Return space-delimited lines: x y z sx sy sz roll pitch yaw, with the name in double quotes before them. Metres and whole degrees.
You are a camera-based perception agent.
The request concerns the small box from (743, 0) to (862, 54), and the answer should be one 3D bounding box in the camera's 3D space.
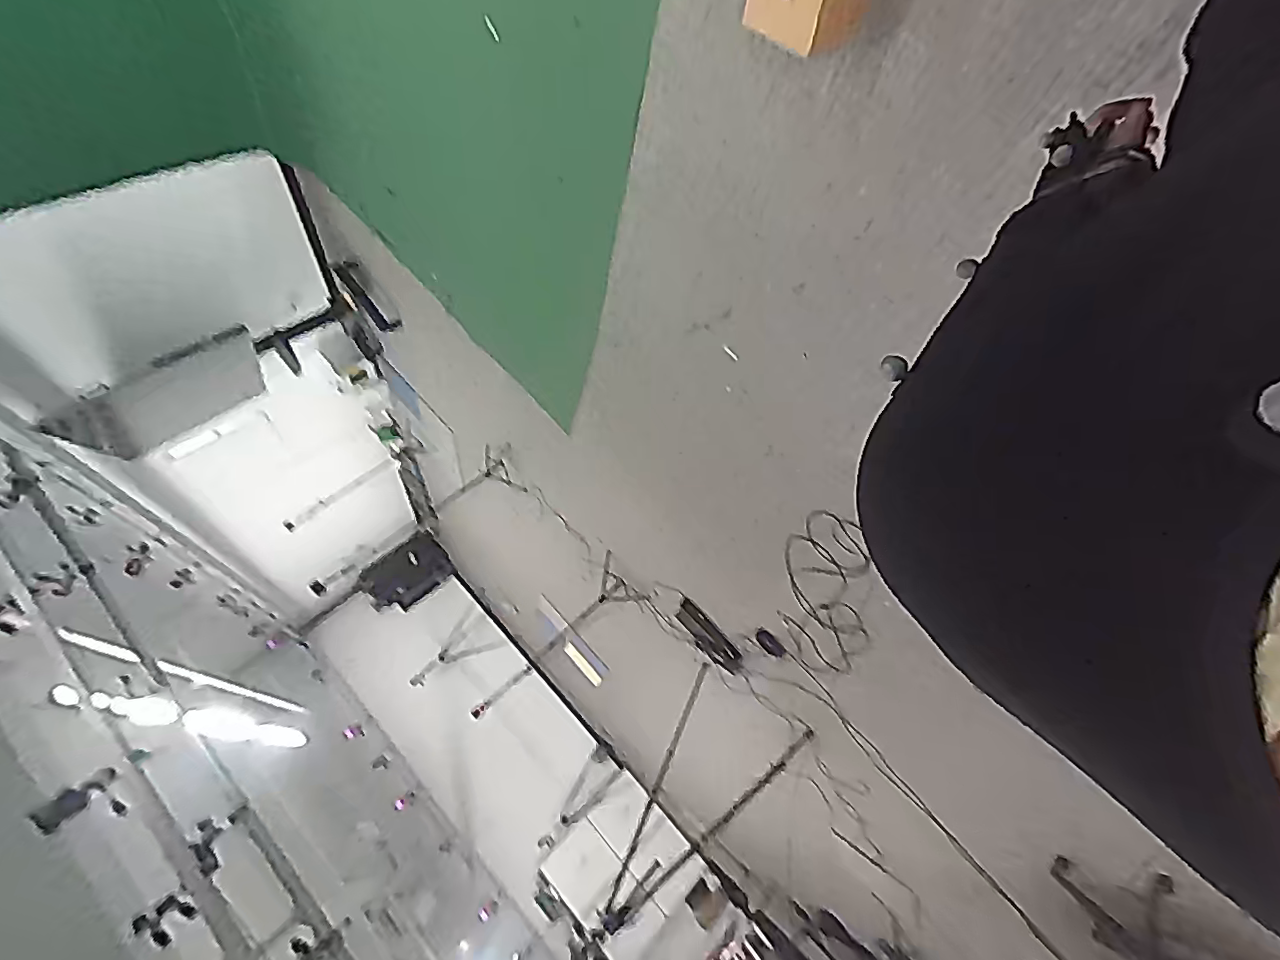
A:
"small box" 0.342 -0.987 1.069 0.179 0.176 0.168 43 150 17
